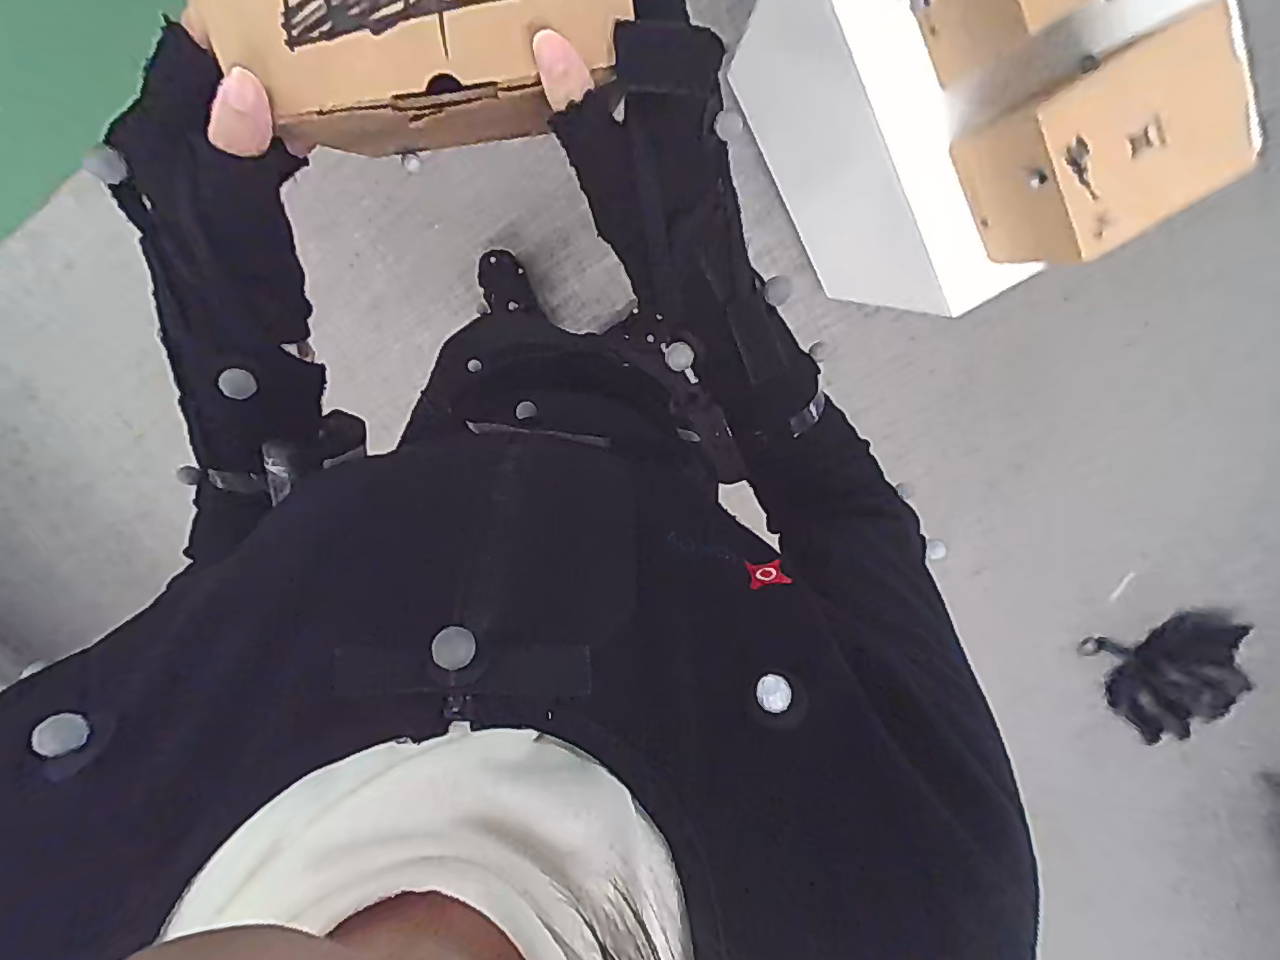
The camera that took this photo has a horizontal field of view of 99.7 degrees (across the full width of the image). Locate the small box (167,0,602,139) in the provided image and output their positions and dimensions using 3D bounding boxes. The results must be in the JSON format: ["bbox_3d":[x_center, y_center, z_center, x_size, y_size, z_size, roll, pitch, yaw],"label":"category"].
[{"bbox_3d":[-0.113,-0.275,0.254,0.168,0.176,0.179,-10,117,-2],"label":"small box"}]

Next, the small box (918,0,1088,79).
[{"bbox_3d":[0.393,-0.543,0.522,0.179,0.176,0.168,-31,108,13],"label":"small box"}]

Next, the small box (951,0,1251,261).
[{"bbox_3d":[0.496,-0.366,0.604,0.179,0.176,0.168,-29,108,11],"label":"small box"}]
